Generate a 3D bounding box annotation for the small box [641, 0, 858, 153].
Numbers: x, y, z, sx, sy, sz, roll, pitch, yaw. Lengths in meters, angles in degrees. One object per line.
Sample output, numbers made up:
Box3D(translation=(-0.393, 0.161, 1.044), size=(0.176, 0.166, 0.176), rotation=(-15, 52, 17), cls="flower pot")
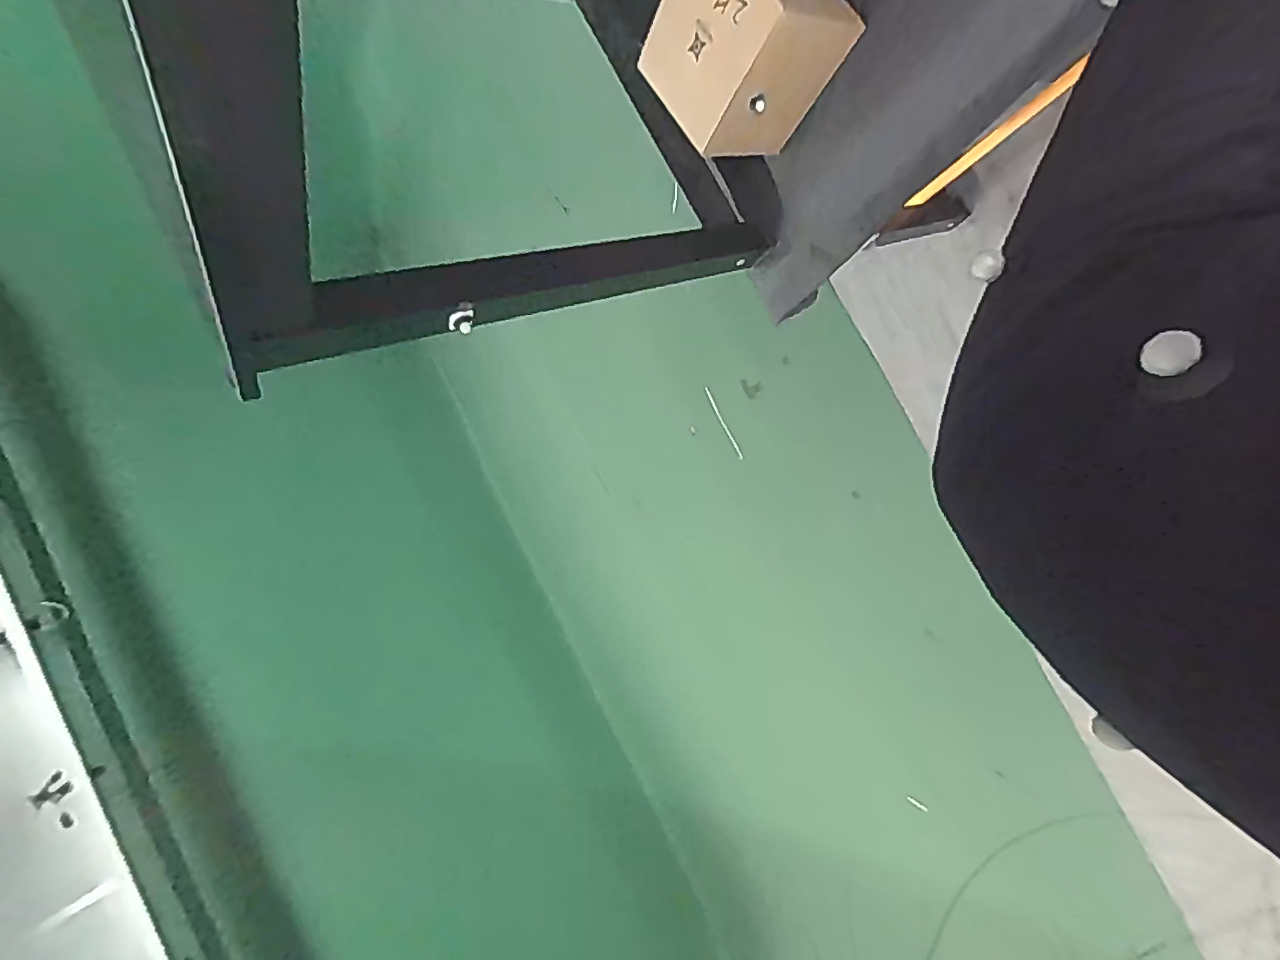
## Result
Box3D(translation=(0.137, -0.555, 0.694), size=(0.168, 0.176, 0.179), rotation=(58, 145, 9), cls="small box")
